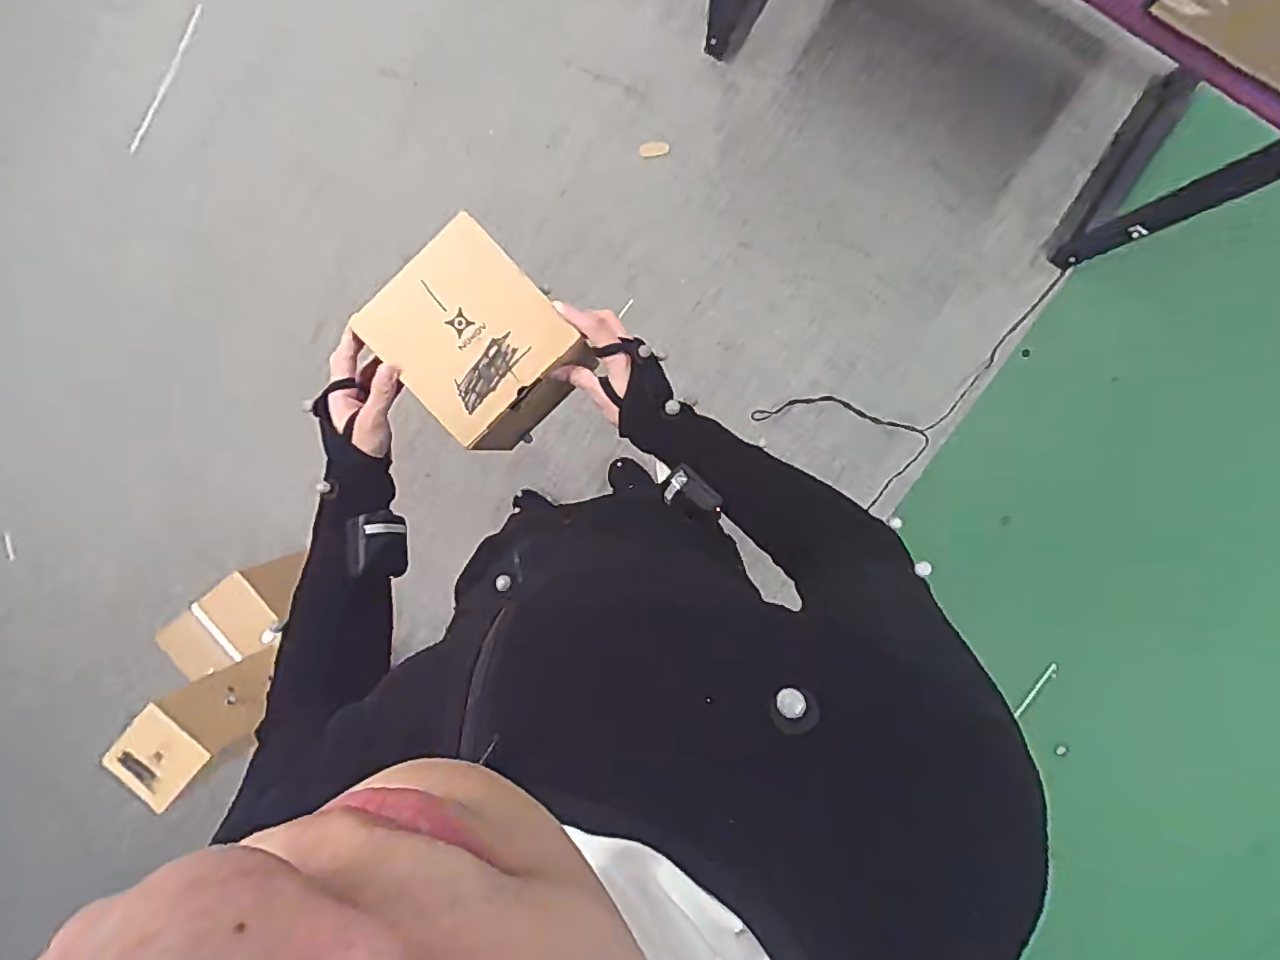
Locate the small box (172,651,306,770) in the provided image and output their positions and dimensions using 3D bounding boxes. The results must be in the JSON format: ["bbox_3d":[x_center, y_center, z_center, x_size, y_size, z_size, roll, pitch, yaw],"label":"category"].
[{"bbox_3d":[-0.972,0.556,1.333,0.168,0.176,0.179,43,94,-1],"label":"small box"}]
